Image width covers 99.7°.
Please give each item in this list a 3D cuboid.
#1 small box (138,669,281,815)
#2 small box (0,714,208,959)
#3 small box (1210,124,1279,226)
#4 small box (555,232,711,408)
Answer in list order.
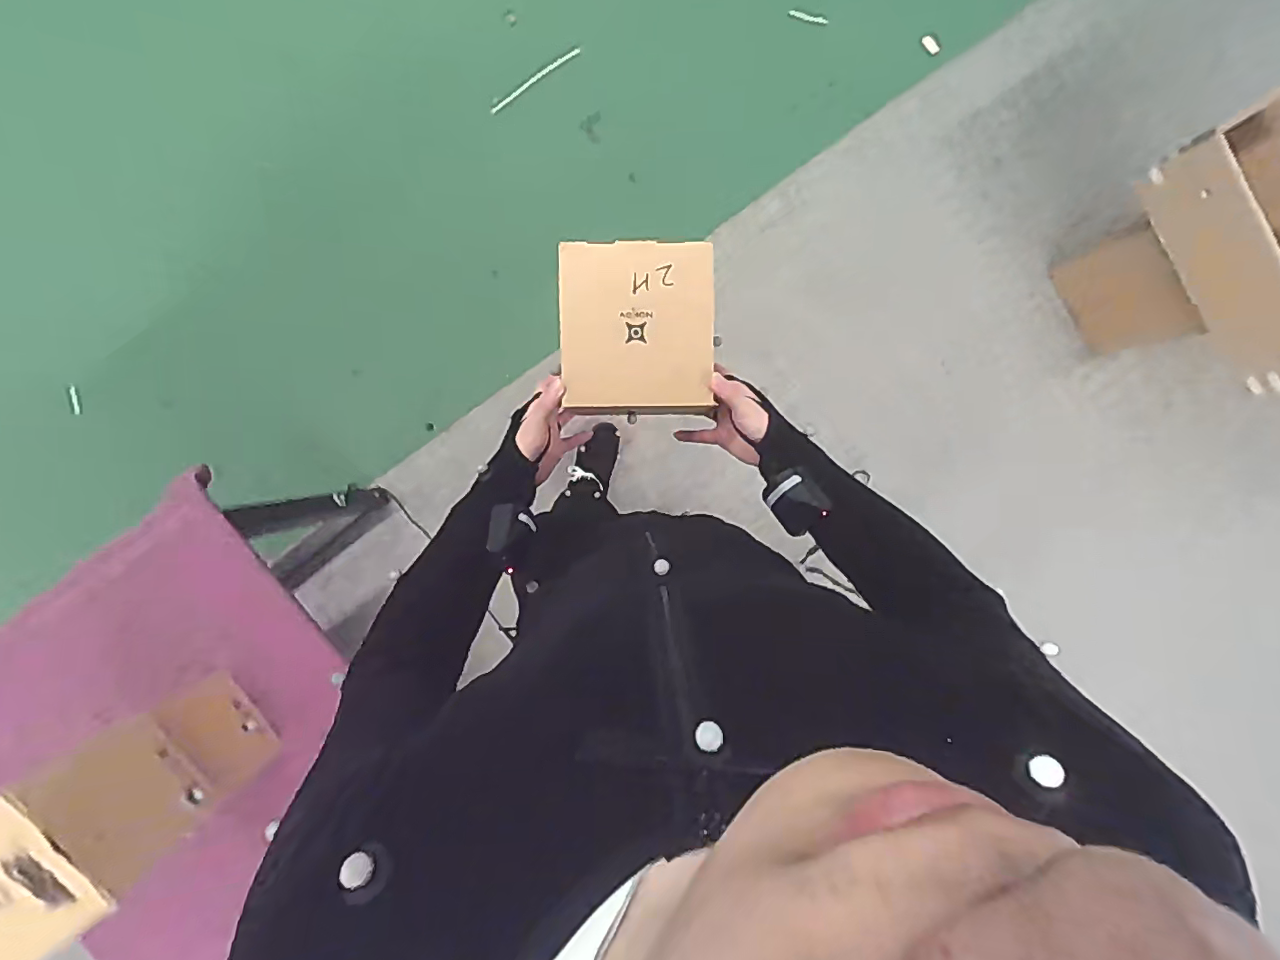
[{"bbox_3d":[-0.698,0.422,0.809,0.179,0.176,0.168,-35,95,0],"label":"small box"},{"bbox_3d":[-0.675,0.422,0.646,0.179,0.176,0.168,-37,95,2],"label":"small box"},{"bbox_3d":[1.397,-0.682,1.147,0.179,0.176,0.168,-29,93,-1],"label":"small box"},{"bbox_3d":[-0.009,-0.178,0.653,0.168,0.176,0.179,1,94,-2],"label":"small box"}]
